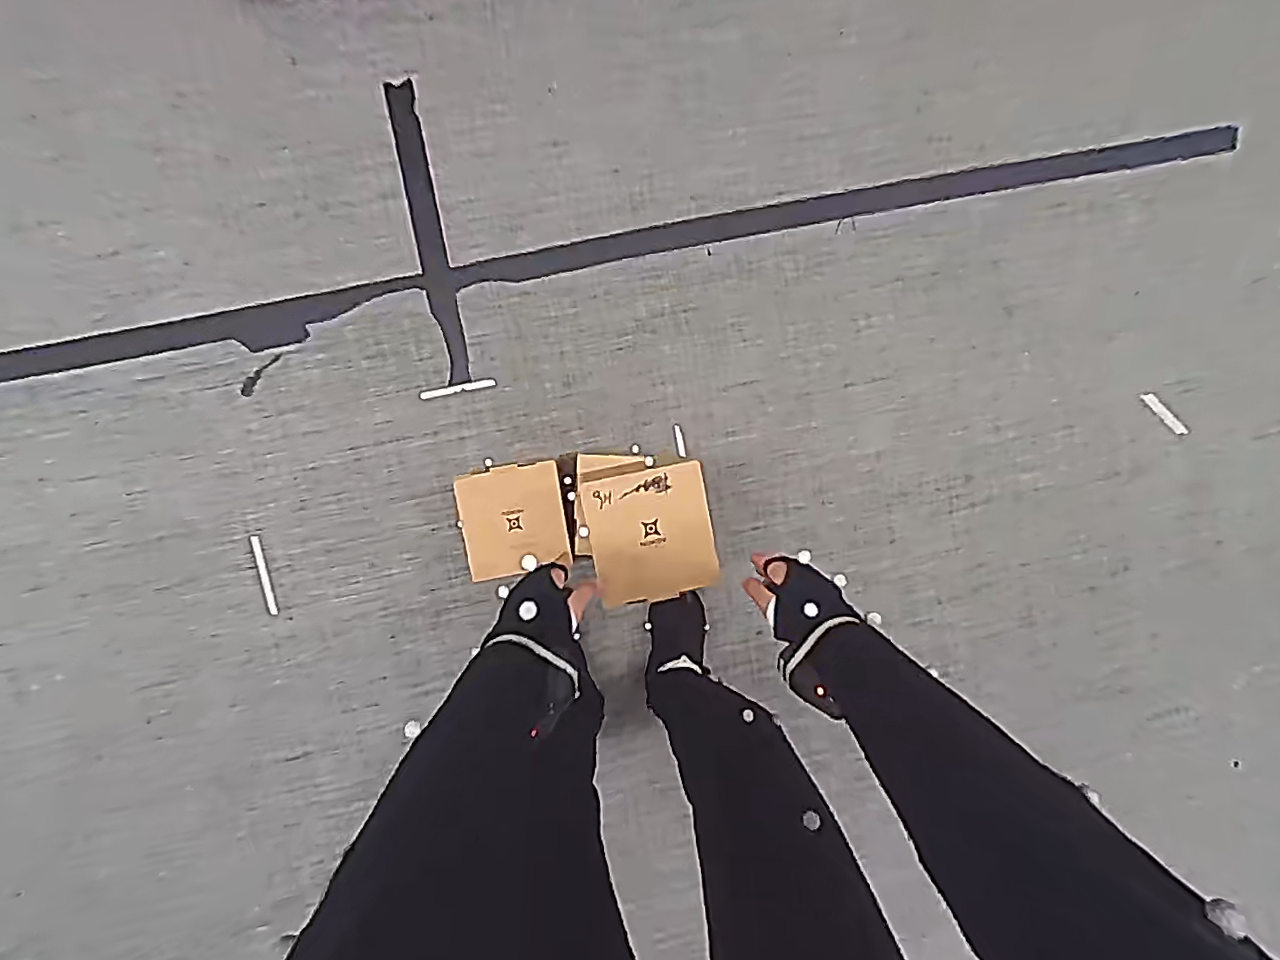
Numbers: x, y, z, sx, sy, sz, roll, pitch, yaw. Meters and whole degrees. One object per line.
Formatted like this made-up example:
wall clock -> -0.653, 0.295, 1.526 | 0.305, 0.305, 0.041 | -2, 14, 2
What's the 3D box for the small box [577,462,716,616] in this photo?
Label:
small box -> 0.005, 0.077, 0.804 | 0.168, 0.176, 0.179 | -11, 97, -4
